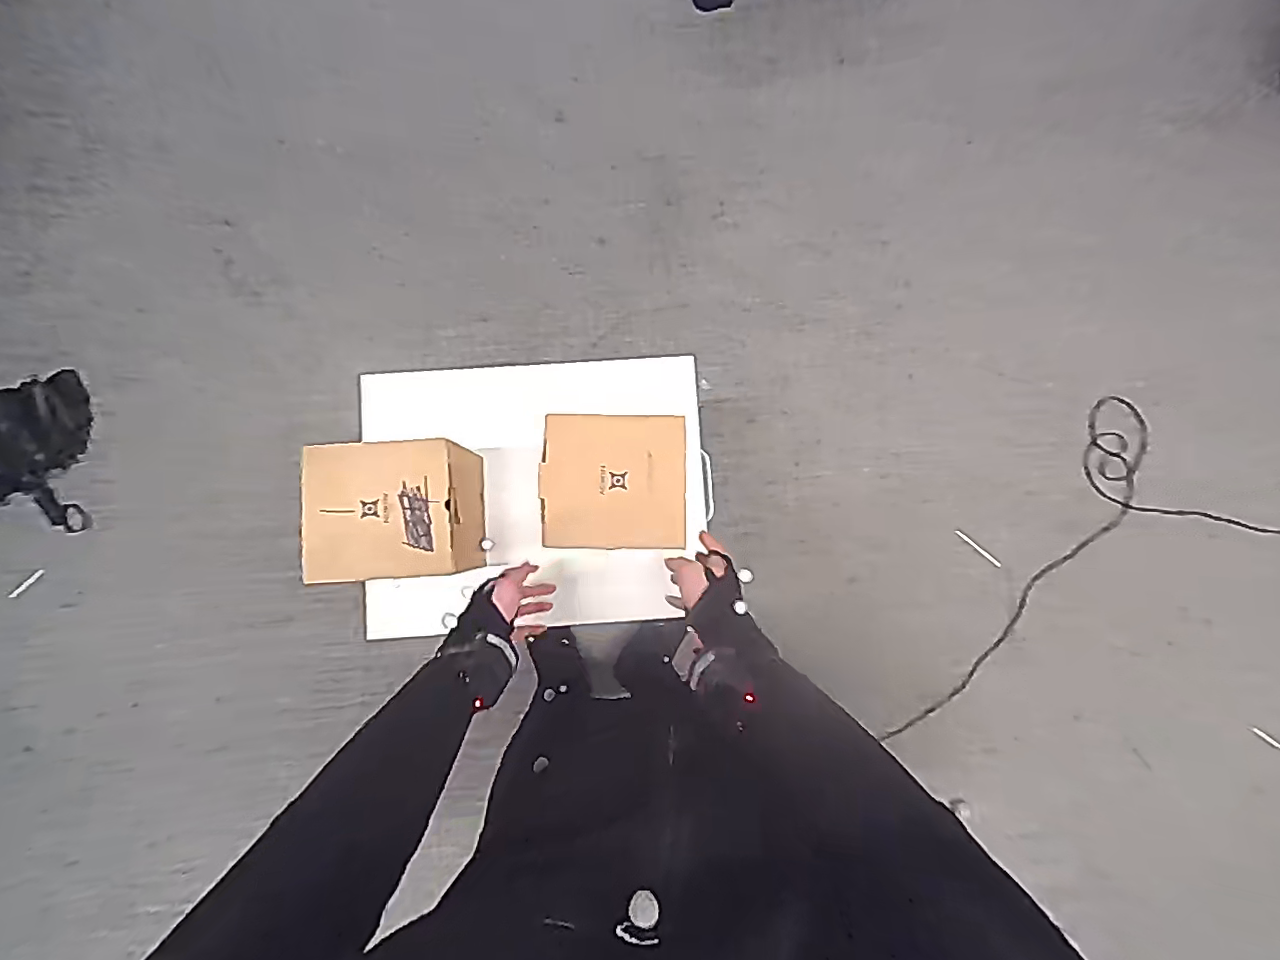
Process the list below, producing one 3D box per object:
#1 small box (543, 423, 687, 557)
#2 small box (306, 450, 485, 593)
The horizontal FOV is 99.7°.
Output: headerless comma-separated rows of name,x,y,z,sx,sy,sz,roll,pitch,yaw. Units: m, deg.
small box,-0.031,0.019,0.734,0.179,0.176,0.168,0,85,-2
small box,-0.310,0.056,0.721,0.179,0.176,0.168,-4,84,-2
